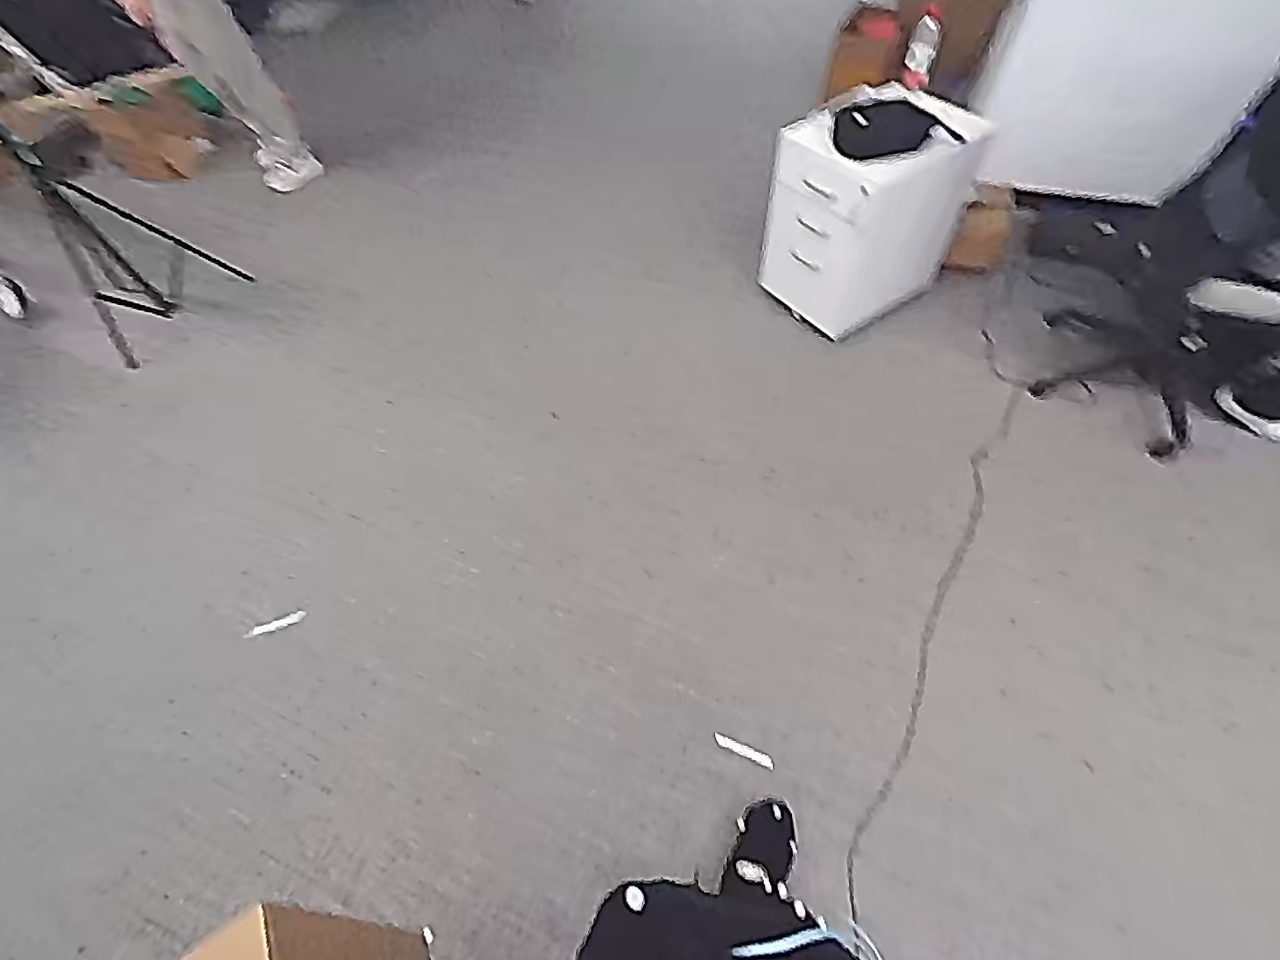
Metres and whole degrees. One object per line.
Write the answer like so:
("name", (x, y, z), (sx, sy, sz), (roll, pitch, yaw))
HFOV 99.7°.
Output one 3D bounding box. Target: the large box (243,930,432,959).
("large box", (-0.393, 0.763, 0.568), (0.320, 0.408, 0.320), (-31, 48, -18))
